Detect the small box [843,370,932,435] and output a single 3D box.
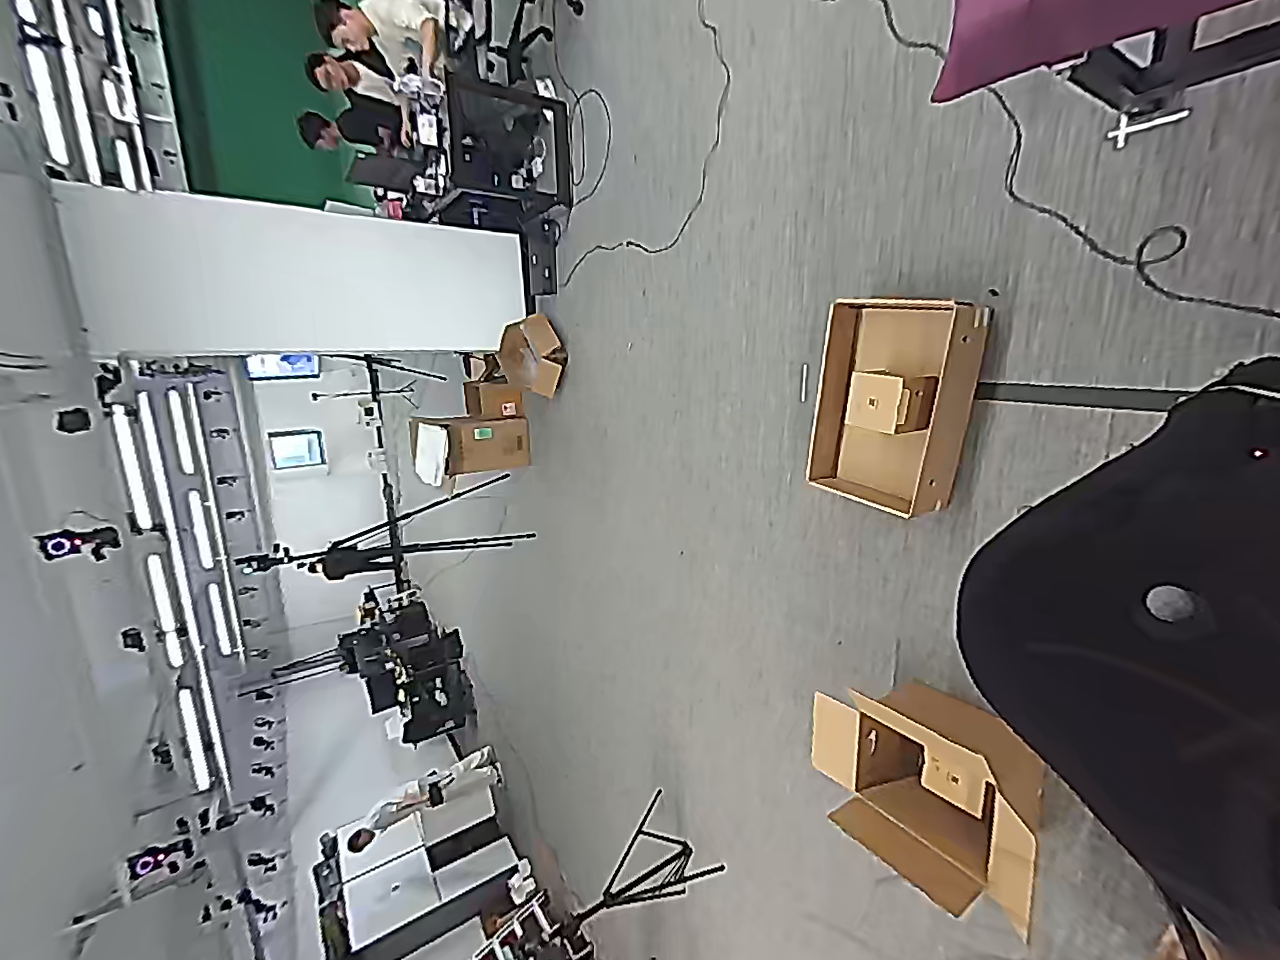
[{"bbox_3d":[0.756,-0.243,1.648,0.179,0.176,0.168,27,119,52],"label":"small box"}]
